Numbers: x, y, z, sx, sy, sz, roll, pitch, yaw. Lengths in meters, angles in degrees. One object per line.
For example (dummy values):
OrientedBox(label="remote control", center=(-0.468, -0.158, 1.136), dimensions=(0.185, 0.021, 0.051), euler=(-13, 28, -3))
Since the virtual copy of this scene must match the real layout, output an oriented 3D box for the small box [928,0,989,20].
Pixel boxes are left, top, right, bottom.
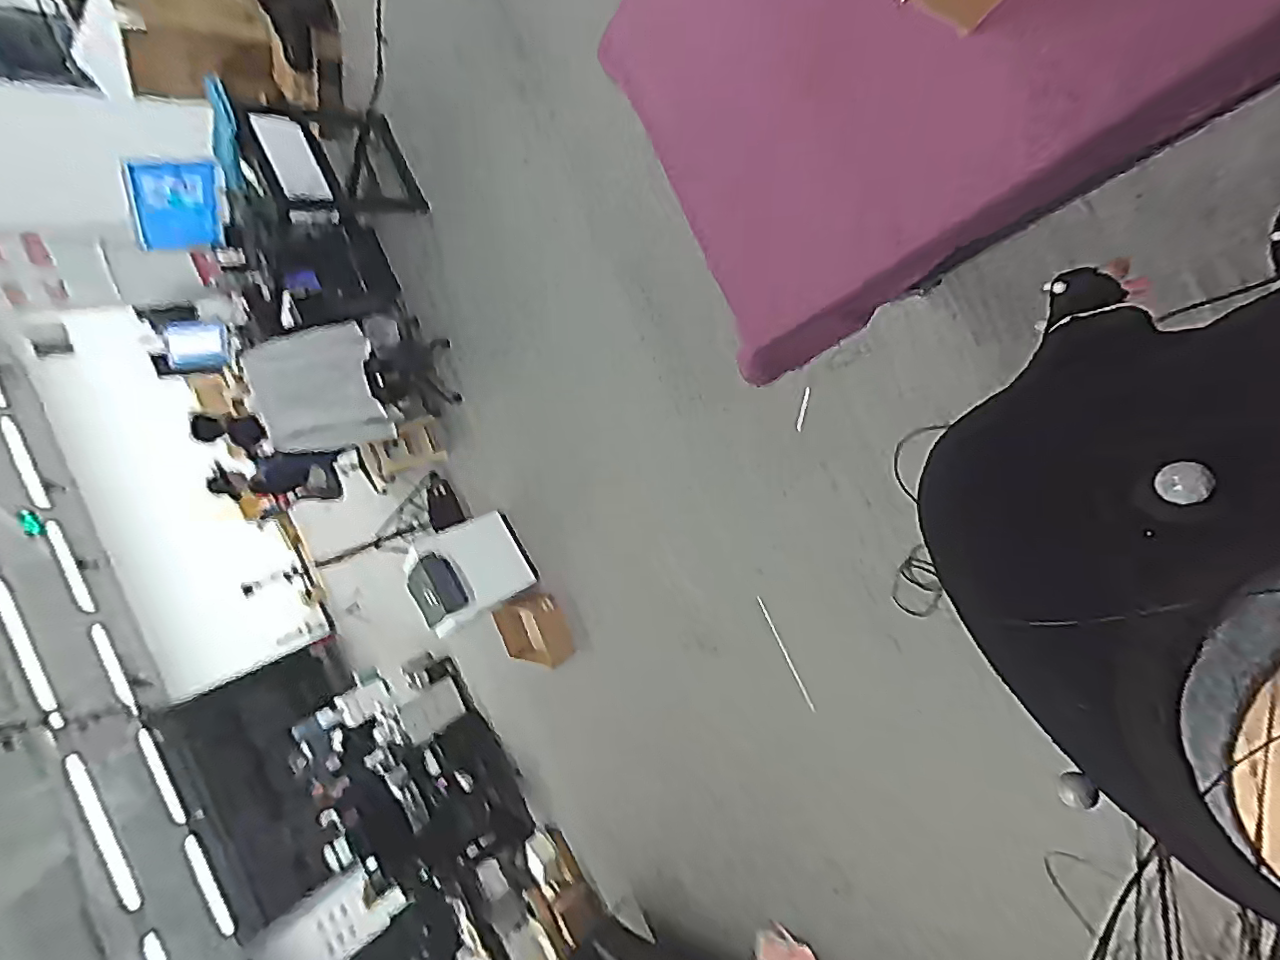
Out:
OrientedBox(label="small box", center=(0.309, -0.572, 0.486), dimensions=(0.179, 0.176, 0.168), euler=(-33, 83, 50))
